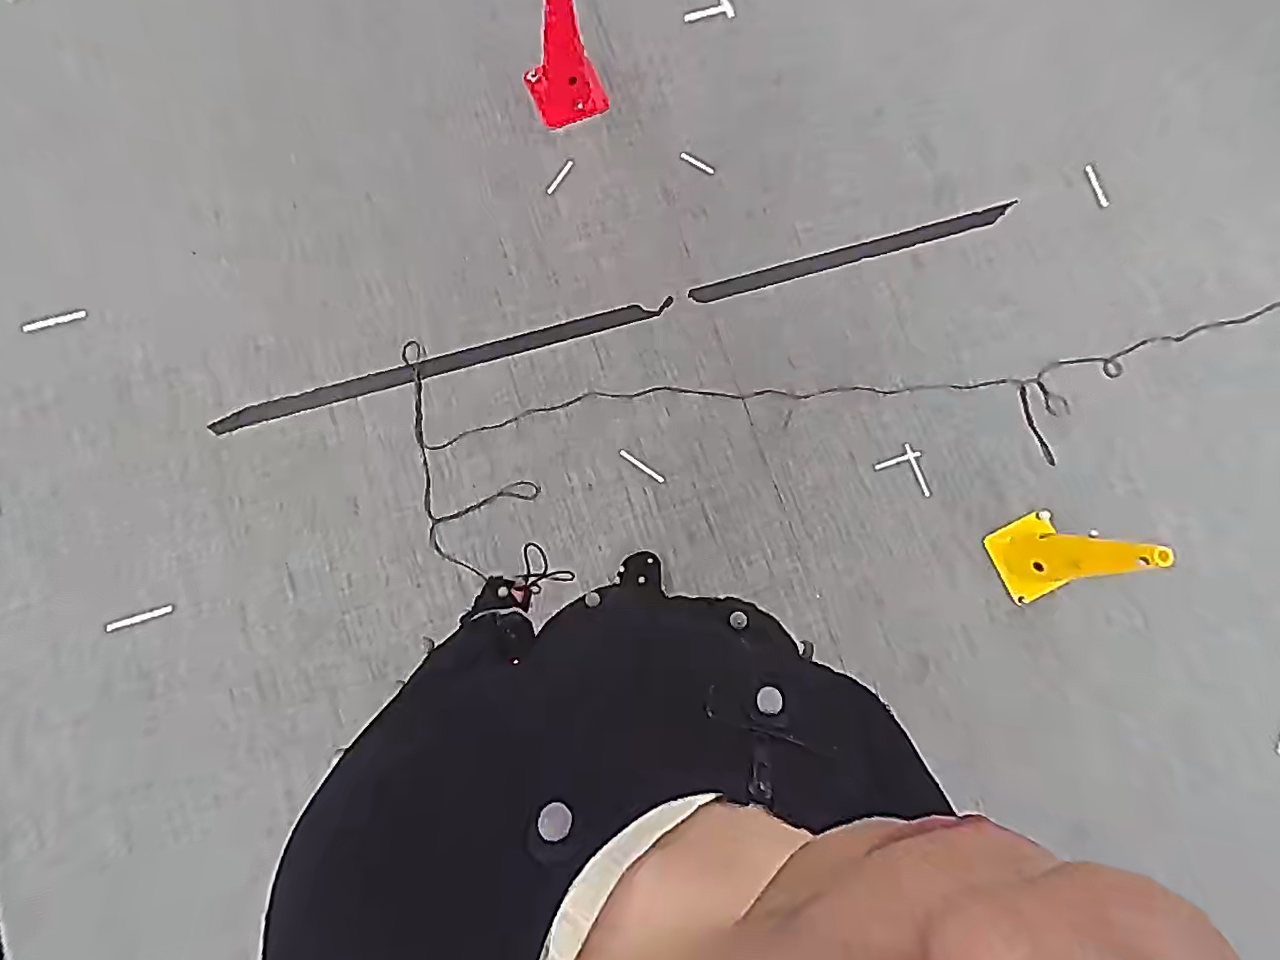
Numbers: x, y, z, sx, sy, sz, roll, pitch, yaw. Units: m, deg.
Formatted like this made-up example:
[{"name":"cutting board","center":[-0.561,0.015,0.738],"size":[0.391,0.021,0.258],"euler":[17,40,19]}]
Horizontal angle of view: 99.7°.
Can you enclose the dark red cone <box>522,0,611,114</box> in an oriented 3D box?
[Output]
[{"name":"dark red cone","center":[-0.194,-1.149,1.349],"size":[0.202,0.394,0.201],"euler":[-25,86,-7]}]
